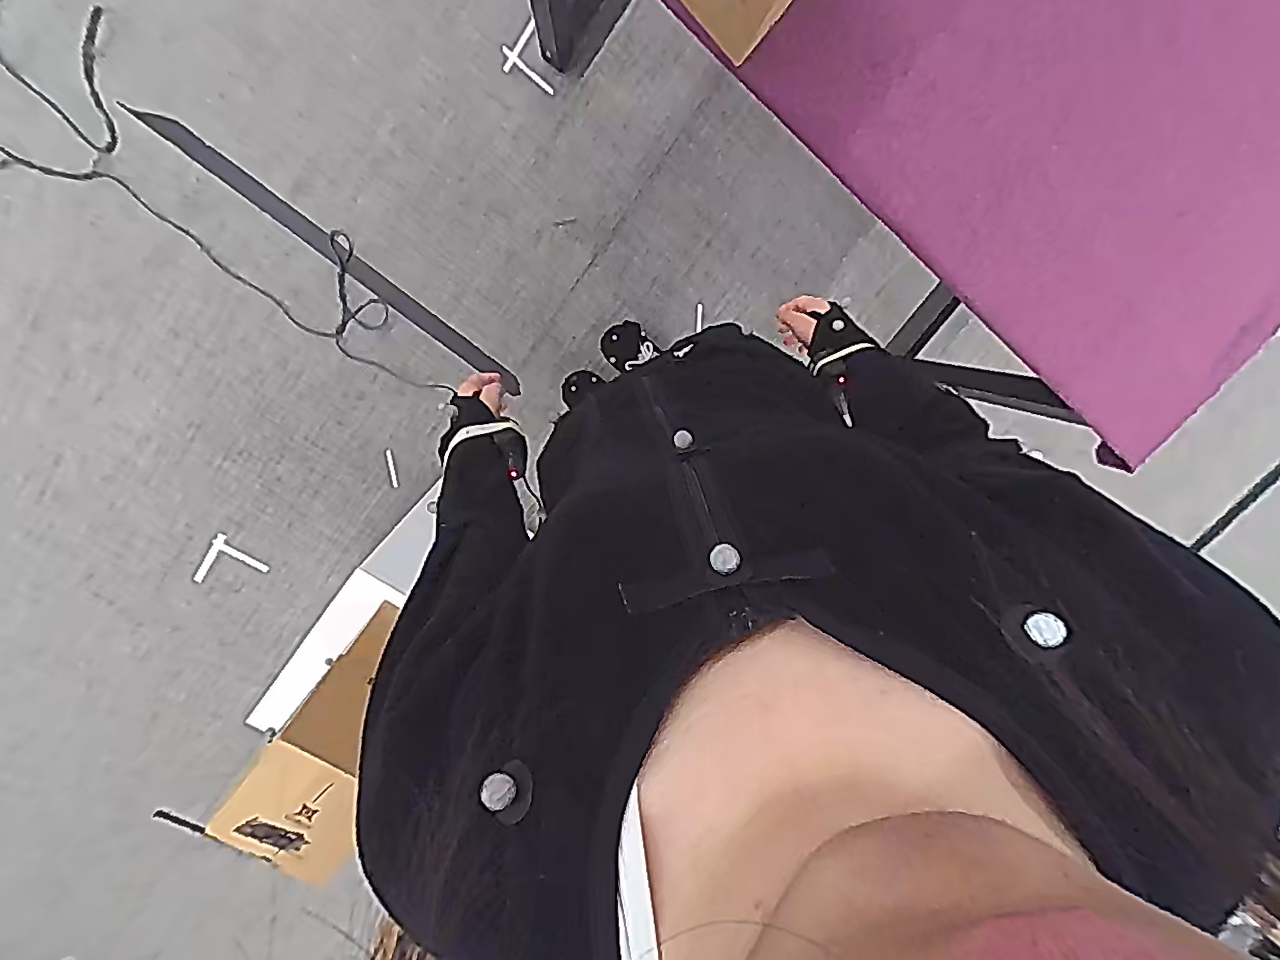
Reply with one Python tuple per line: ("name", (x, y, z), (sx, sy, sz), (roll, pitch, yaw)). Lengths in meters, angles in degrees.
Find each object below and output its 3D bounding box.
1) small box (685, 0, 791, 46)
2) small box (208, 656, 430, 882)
("small box", (0.110, -0.558, 0.502), (0.179, 0.176, 0.168), (40, 101, -15))
("small box", (-0.417, 0.383, 0.737), (0.168, 0.176, 0.179), (38, 100, -15))
